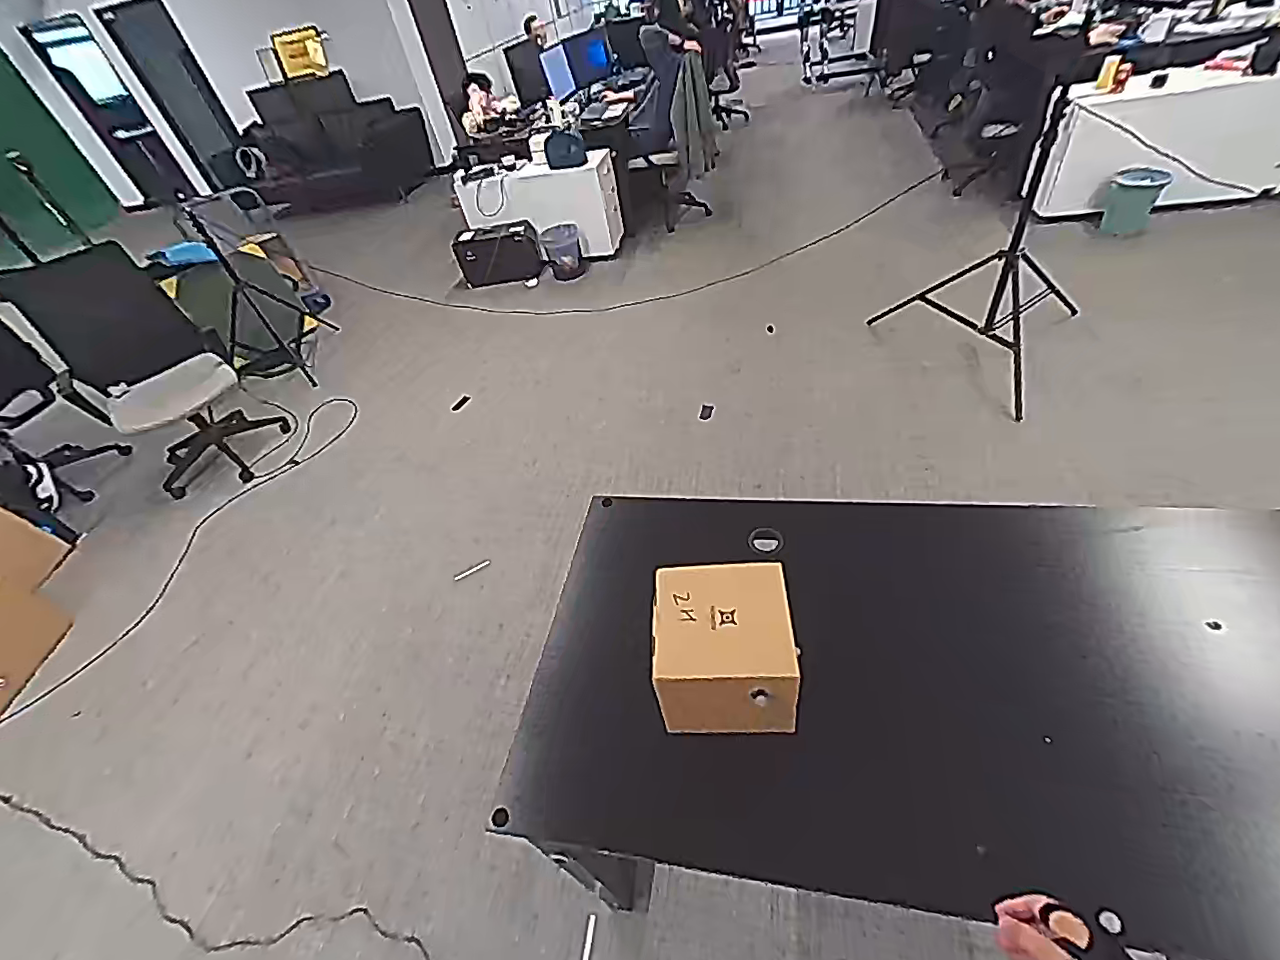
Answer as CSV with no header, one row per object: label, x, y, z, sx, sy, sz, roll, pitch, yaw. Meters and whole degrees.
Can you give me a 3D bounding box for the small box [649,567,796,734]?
small box,0.113,0.240,0.754,0.179,0.176,0.168,-5,44,9
